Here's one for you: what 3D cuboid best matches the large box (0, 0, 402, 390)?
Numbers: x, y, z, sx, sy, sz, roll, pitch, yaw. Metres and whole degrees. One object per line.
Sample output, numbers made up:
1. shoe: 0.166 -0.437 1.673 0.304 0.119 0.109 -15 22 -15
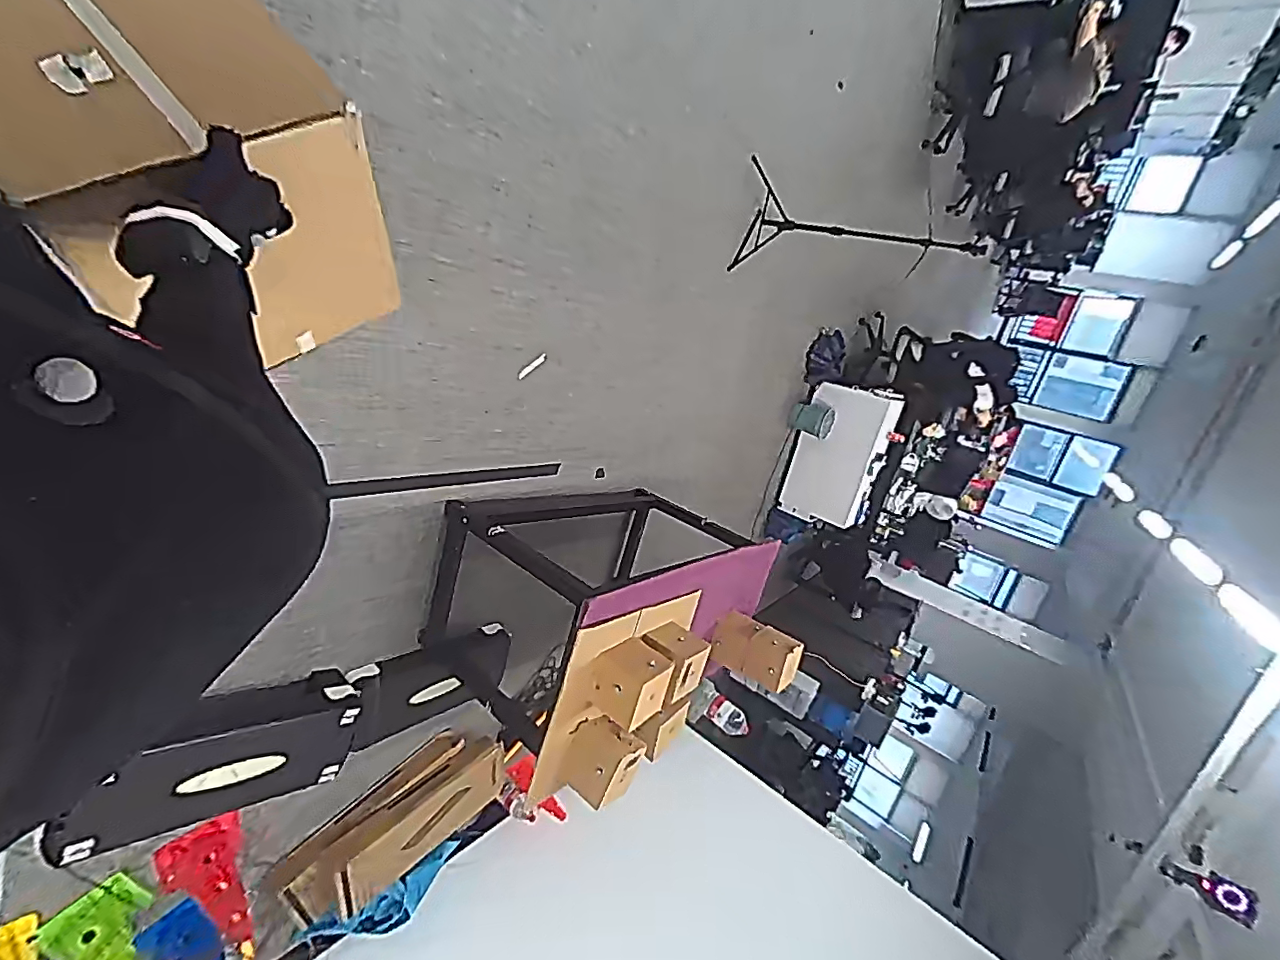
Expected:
1. large box: -0.578 -0.400 0.686 0.320 0.408 0.320 -40 173 -22
